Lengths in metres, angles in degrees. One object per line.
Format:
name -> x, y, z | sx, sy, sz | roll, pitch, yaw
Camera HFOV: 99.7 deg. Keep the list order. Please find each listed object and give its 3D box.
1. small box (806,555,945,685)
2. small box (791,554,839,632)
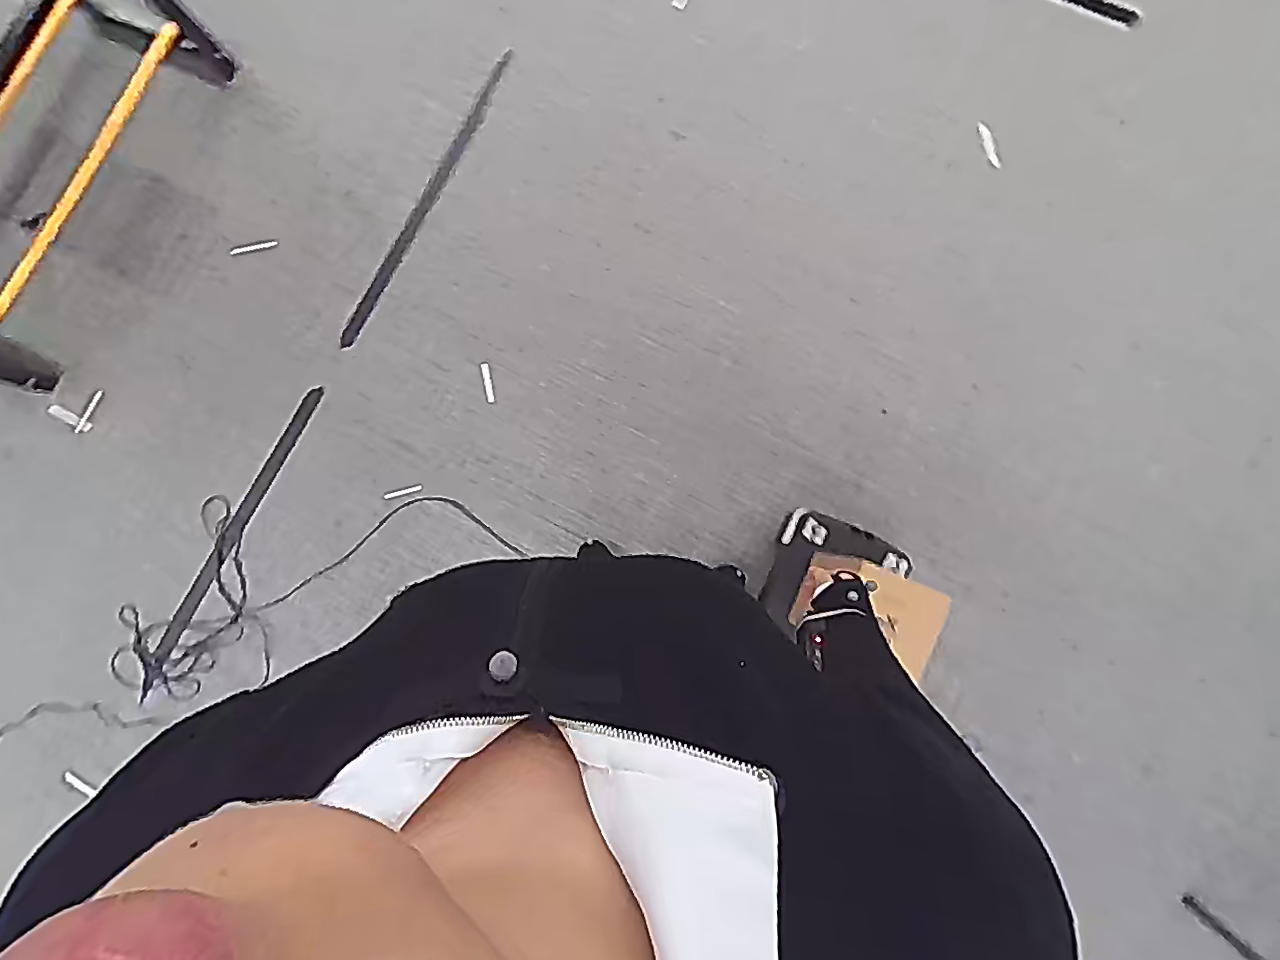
small box -> 0.435, 0.256, 1.033 | 0.168, 0.176, 0.179 | 23, 86, 4
small box -> 0.446, 0.272, 1.196 | 0.168, 0.176, 0.179 | 24, 86, 5
